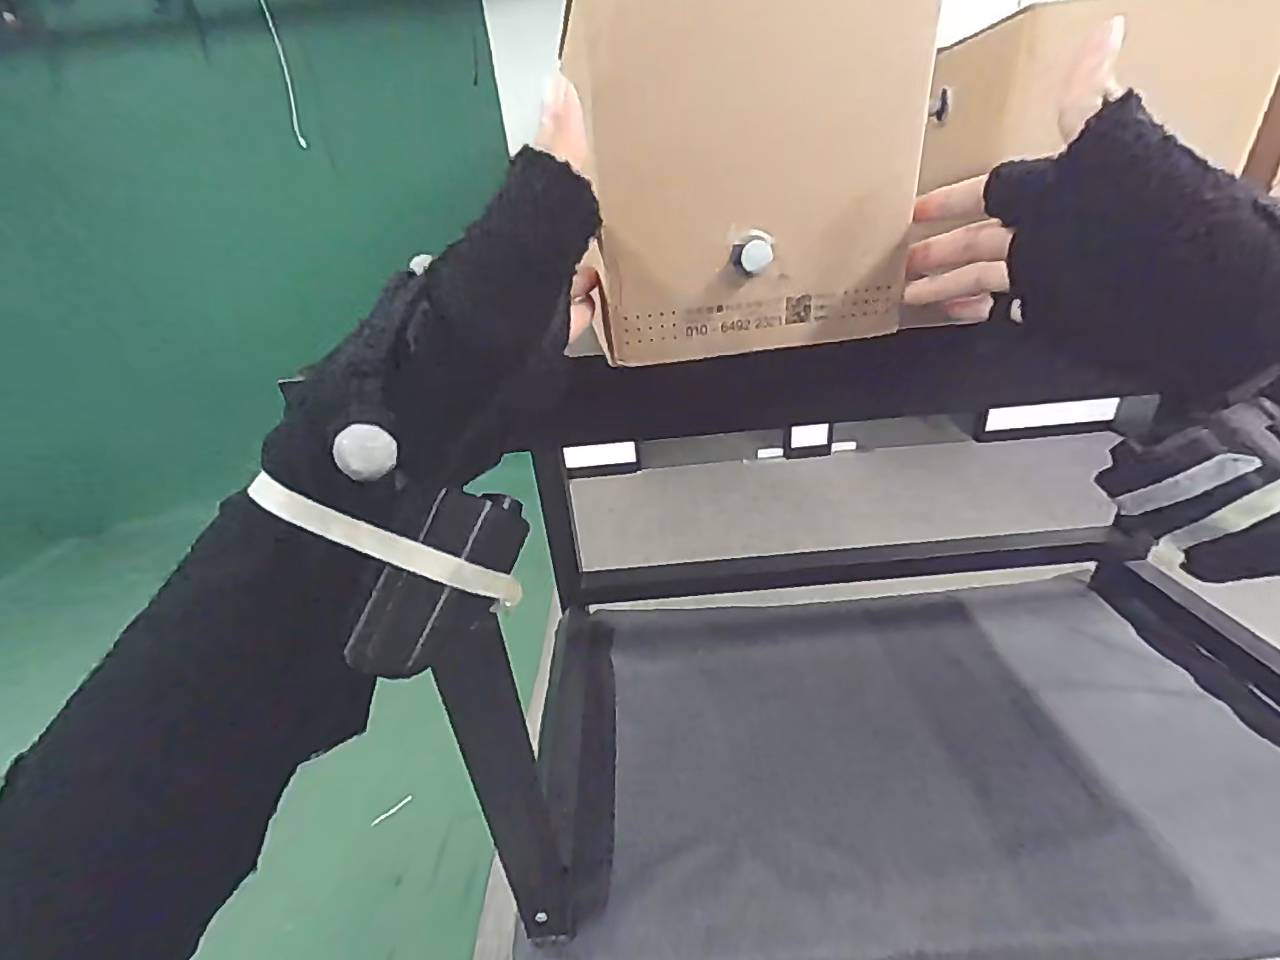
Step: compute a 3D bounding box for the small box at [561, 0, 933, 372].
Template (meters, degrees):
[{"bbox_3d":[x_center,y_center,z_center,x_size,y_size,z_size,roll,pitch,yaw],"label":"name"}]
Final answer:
[{"bbox_3d":[0.043,-0.175,0.339,0.168,0.176,0.179,-9,29,-6],"label":"small box"}]
